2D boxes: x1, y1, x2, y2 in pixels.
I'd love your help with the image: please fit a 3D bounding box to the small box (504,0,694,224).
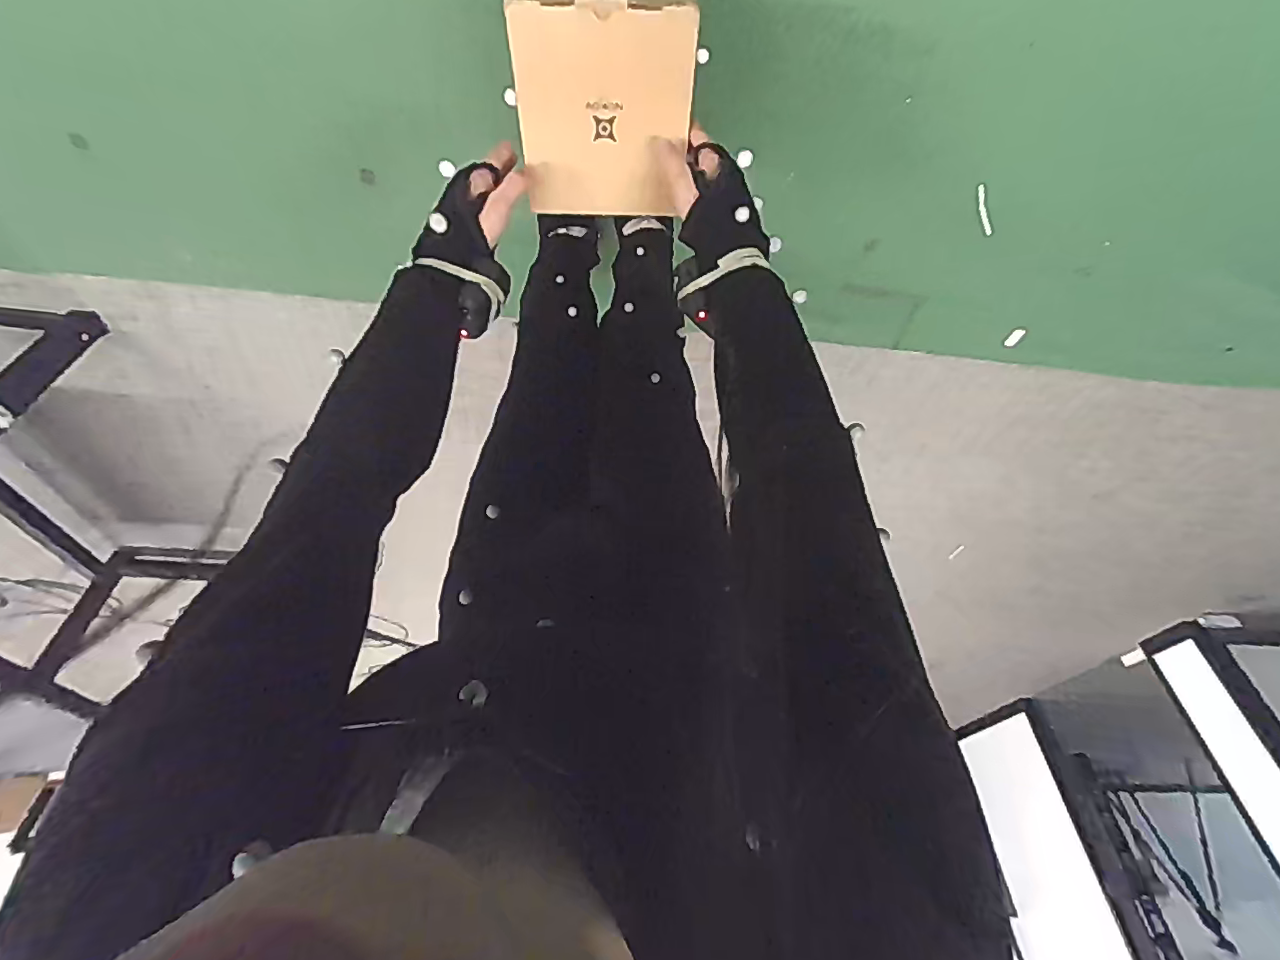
[{"bbox_3d":[-0.036,-0.400,0.575,0.168,0.176,0.179,1,139,-1],"label":"small box"}]
